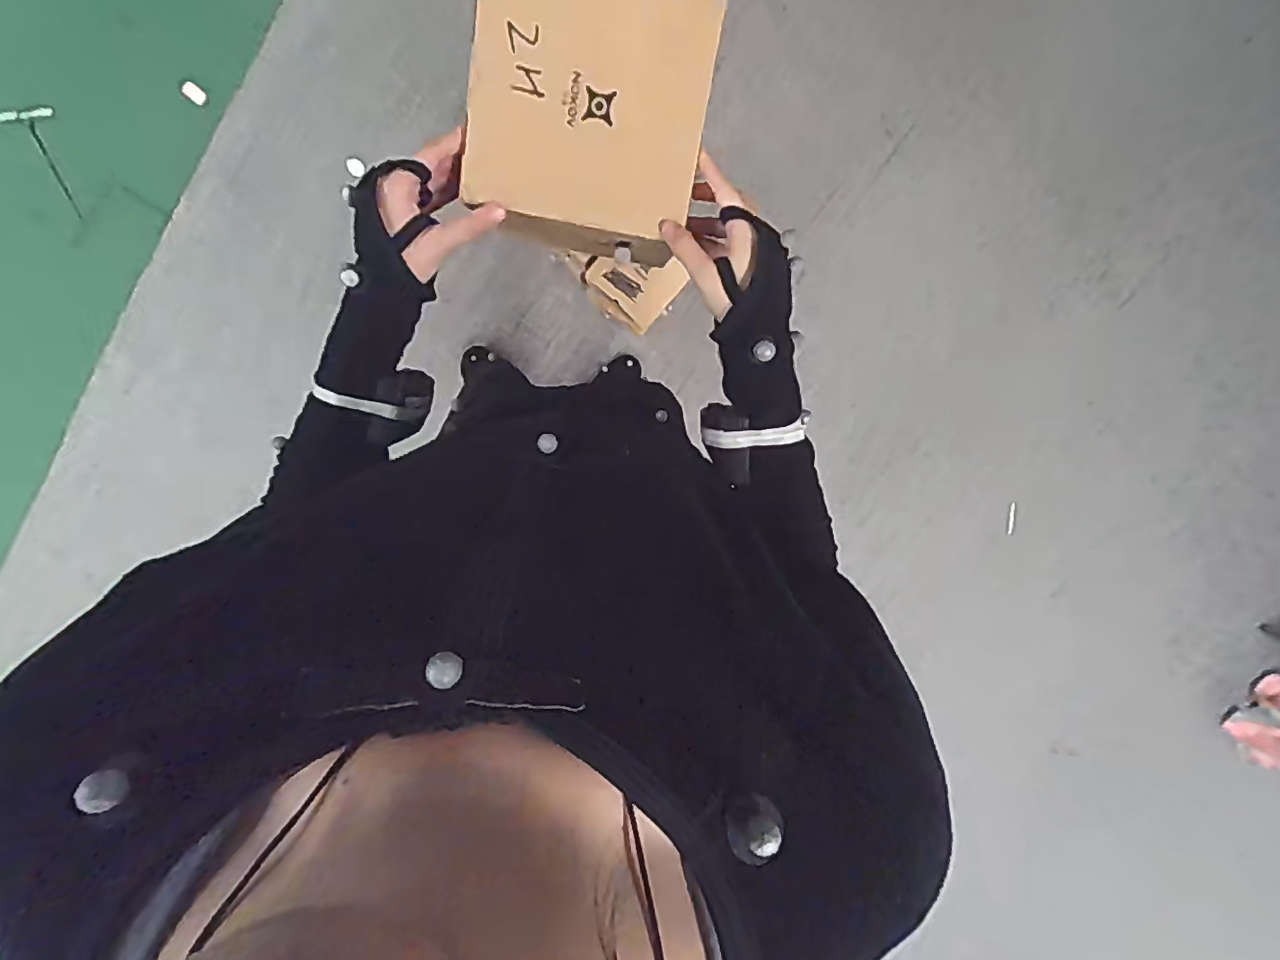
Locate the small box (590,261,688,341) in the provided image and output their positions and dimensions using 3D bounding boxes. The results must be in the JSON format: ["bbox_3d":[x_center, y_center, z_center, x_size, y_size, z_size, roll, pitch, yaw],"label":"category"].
[{"bbox_3d":[-0.008,-0.462,1.323,0.168,0.176,0.179,35,101,-11],"label":"small box"}]

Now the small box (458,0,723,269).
[{"bbox_3d":[-0.042,-0.291,0.476,0.179,0.176,0.168,10,104,-4],"label":"small box"}]
